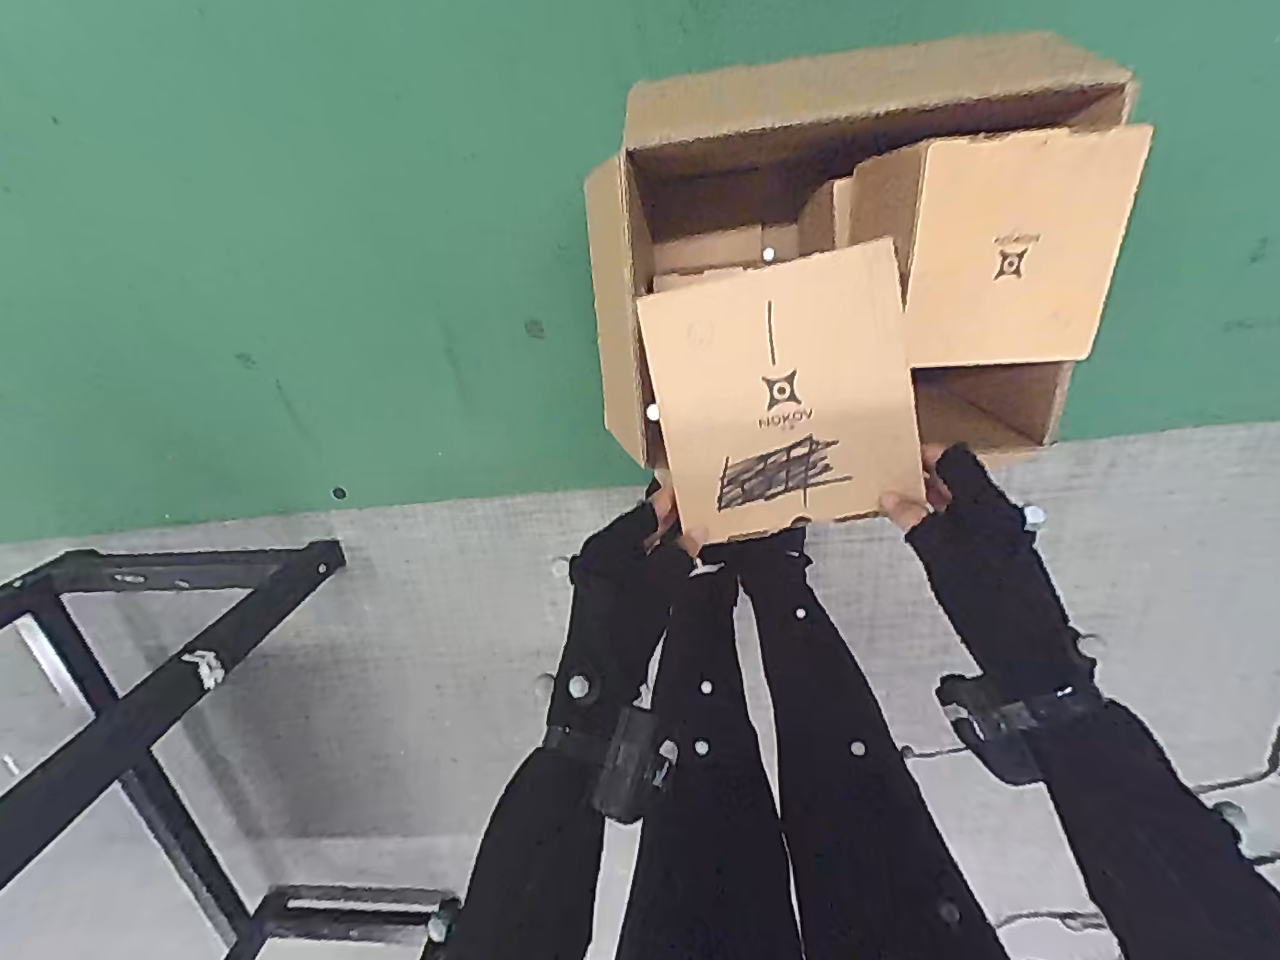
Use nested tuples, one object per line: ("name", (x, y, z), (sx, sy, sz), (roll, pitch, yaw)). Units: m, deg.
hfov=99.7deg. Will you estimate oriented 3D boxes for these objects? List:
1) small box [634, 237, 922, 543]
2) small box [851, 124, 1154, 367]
("small box", (0.101, -0.067, 0.430), (0.168, 0.176, 0.179), (-10, 99, 9))
("small box", (0.303, -0.212, 0.507), (0.168, 0.176, 0.179), (-2, 114, 4))
